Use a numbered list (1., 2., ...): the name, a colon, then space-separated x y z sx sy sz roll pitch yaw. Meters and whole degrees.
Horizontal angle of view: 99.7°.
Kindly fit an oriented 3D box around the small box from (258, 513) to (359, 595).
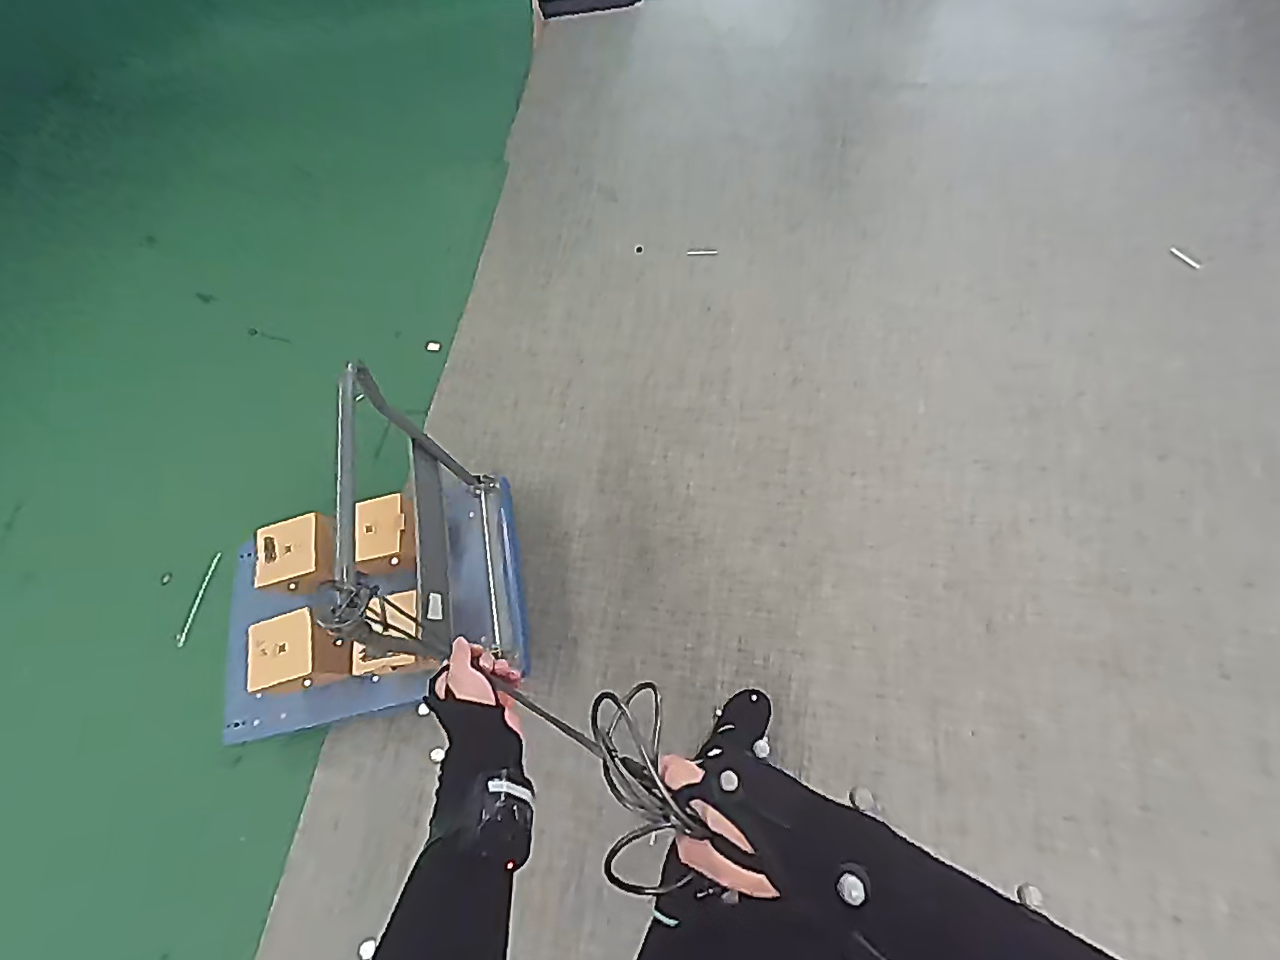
1. small box: -0.912 0.212 1.499 0.179 0.176 0.168 -16 68 5

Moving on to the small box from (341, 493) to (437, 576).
1. small box: -0.676 0.155 1.471 0.179 0.176 0.168 -13 68 6

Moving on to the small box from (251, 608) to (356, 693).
1. small box: -0.862 0.444 1.401 0.179 0.176 0.168 -18 66 5
